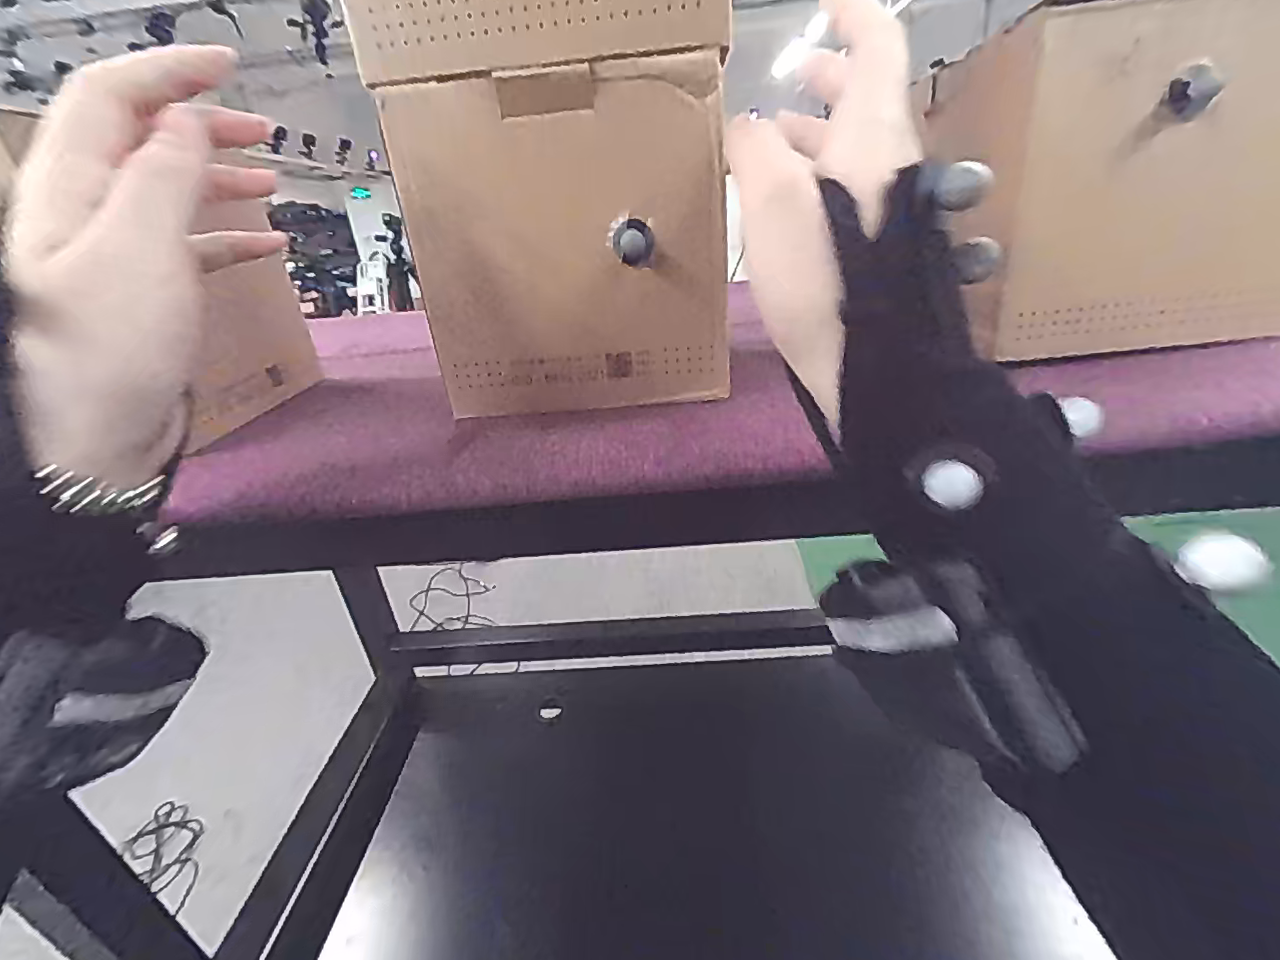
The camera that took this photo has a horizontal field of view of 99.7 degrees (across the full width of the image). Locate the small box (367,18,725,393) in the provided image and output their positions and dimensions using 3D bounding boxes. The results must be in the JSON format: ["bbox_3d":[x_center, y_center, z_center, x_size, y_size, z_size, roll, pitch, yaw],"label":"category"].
[{"bbox_3d":[-0.035,-0.157,0.350,0.168,0.176,0.179,-3,25,4],"label":"small box"}]

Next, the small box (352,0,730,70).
[{"bbox_3d":[-0.049,-0.305,0.278,0.179,0.176,0.168,-2,27,5],"label":"small box"}]

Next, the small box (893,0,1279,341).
[{"bbox_3d":[0.276,-0.188,0.340,0.179,0.176,0.168,-5,24,3],"label":"small box"}]
